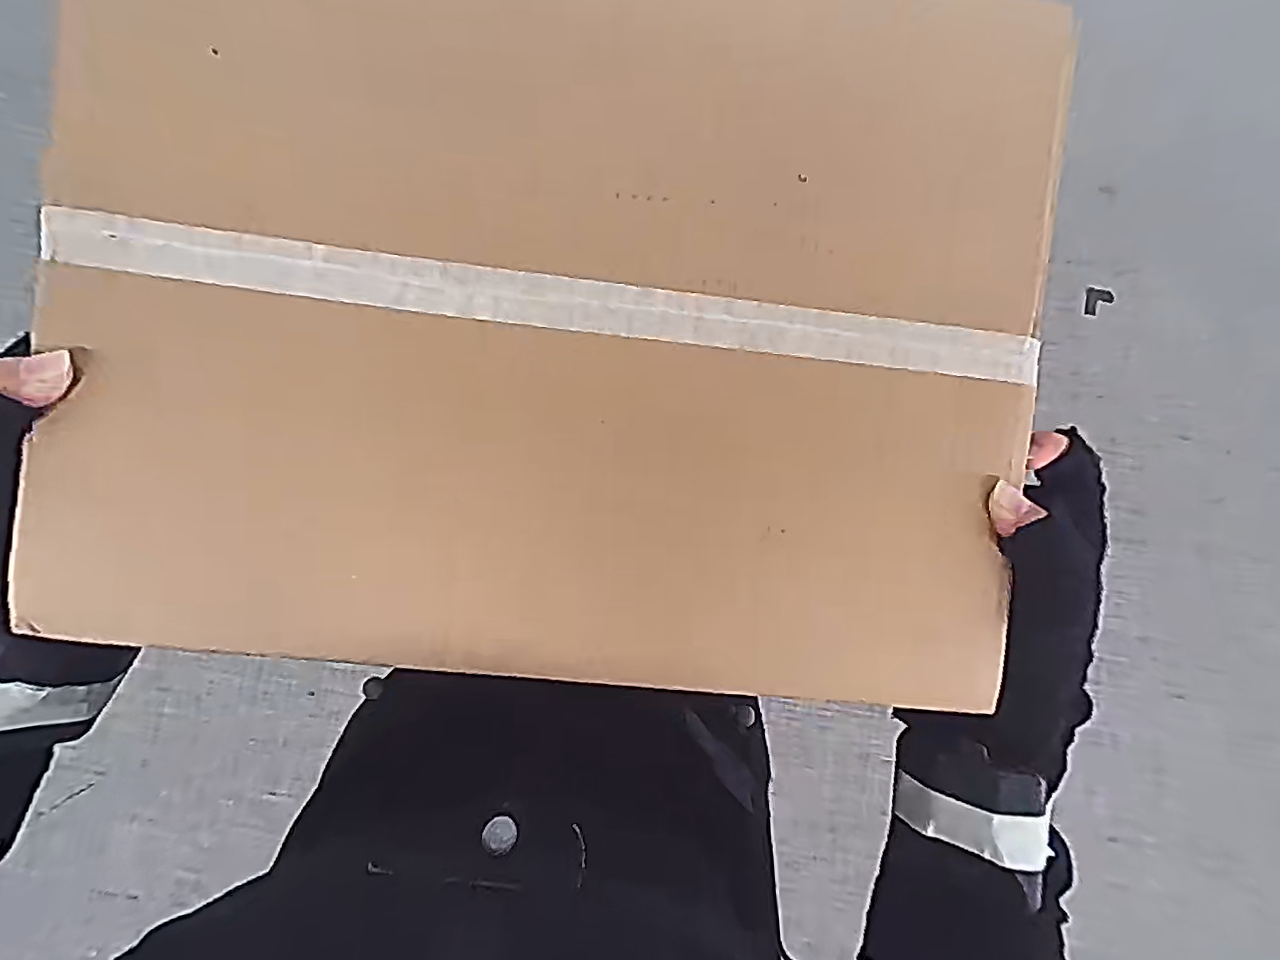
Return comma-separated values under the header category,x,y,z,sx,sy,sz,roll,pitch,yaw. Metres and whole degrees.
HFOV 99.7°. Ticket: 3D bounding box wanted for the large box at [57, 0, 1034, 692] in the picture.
category,x,y,z,sx,sy,sz,roll,pitch,yaw
large box,-0.041,-0.075,0.383,0.408,0.320,0.320,6,91,-4
